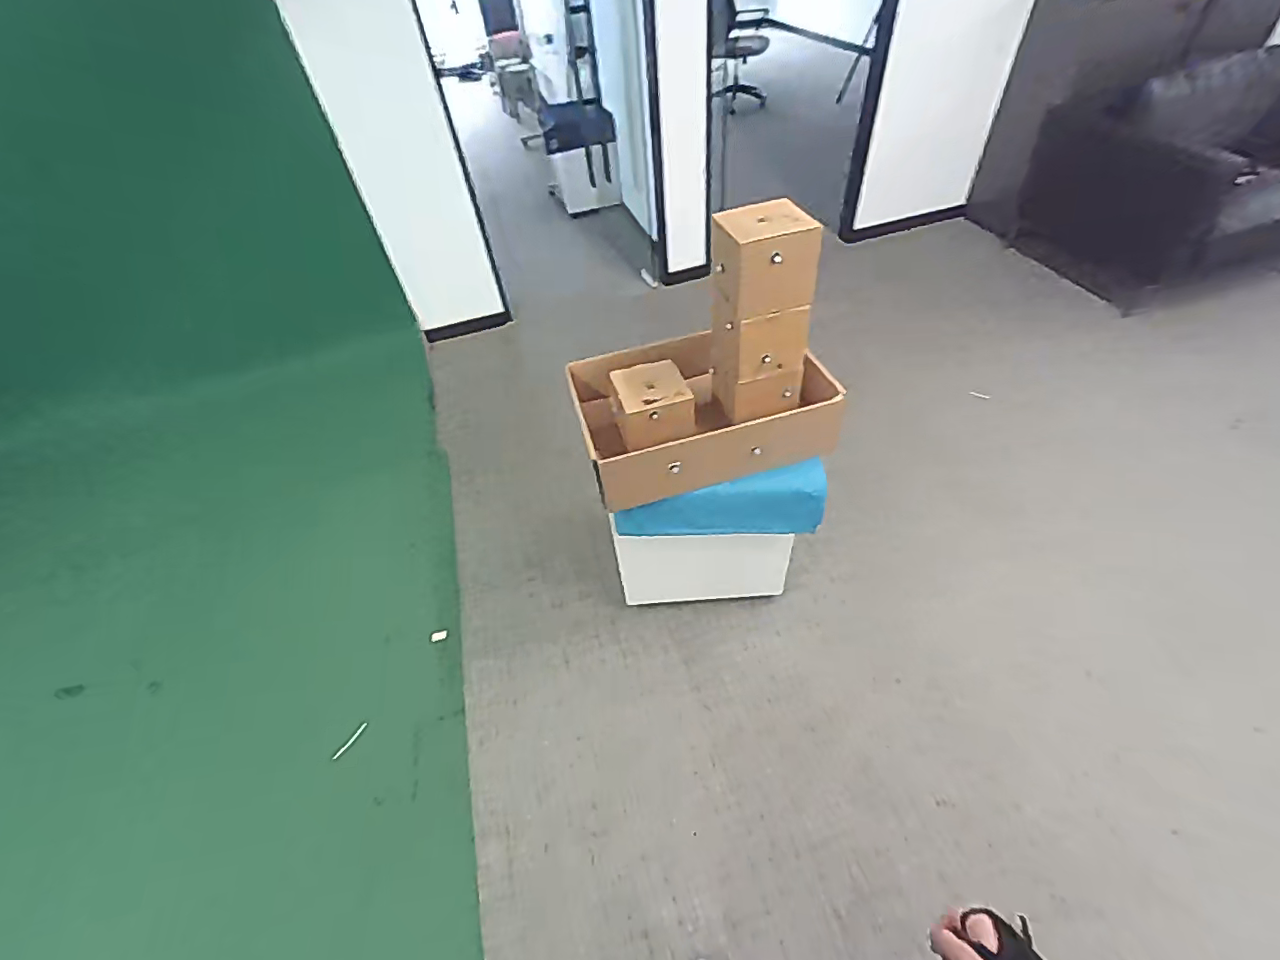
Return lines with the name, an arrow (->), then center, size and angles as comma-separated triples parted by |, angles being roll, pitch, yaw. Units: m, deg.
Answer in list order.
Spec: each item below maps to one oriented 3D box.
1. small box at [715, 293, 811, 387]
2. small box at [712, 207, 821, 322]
small box -> 0.282, -0.346, 1.284 | 0.168, 0.176, 0.179 | -14, 46, -6
small box -> 0.264, -0.461, 1.166 | 0.179, 0.176, 0.168 | -14, 47, -6
